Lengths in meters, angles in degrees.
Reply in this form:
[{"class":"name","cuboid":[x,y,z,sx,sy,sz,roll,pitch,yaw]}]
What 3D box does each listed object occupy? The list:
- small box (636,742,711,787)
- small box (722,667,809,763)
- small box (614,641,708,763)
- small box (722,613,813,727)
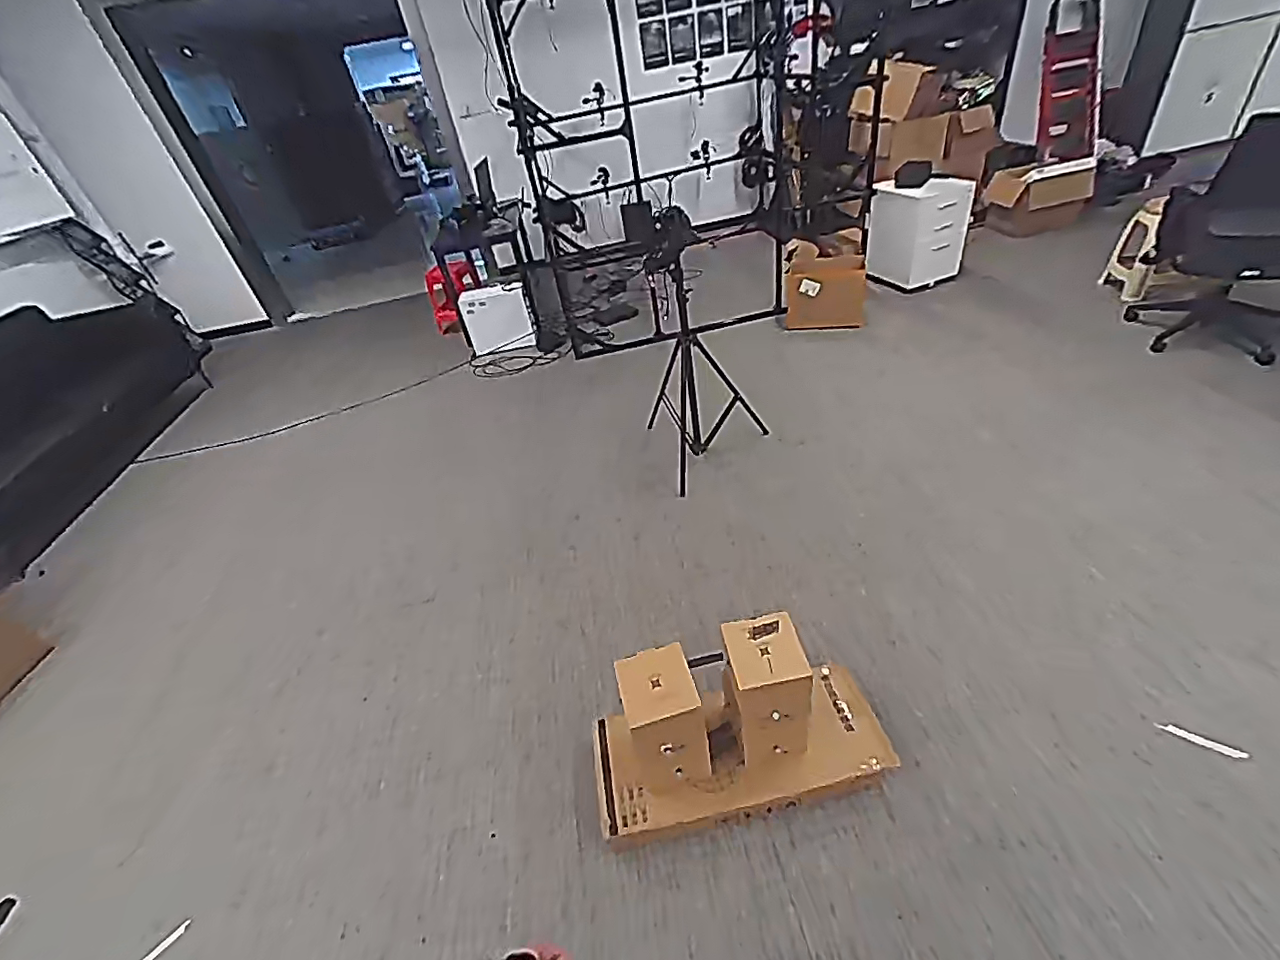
[{"class":"small box","cuboid":[0.073,0.640,1.353,0.168,0.176,0.179,-15,38,-4]},{"class":"small box","cuboid":[0.313,0.579,1.370,0.168,0.176,0.179,-14,37,-2]},{"class":"small box","cuboid":[0.048,0.513,1.253,0.168,0.176,0.179,-17,38,-6]},{"class":"small box","cuboid":[0.295,0.447,1.273,0.168,0.176,0.179,-12,37,0]}]
